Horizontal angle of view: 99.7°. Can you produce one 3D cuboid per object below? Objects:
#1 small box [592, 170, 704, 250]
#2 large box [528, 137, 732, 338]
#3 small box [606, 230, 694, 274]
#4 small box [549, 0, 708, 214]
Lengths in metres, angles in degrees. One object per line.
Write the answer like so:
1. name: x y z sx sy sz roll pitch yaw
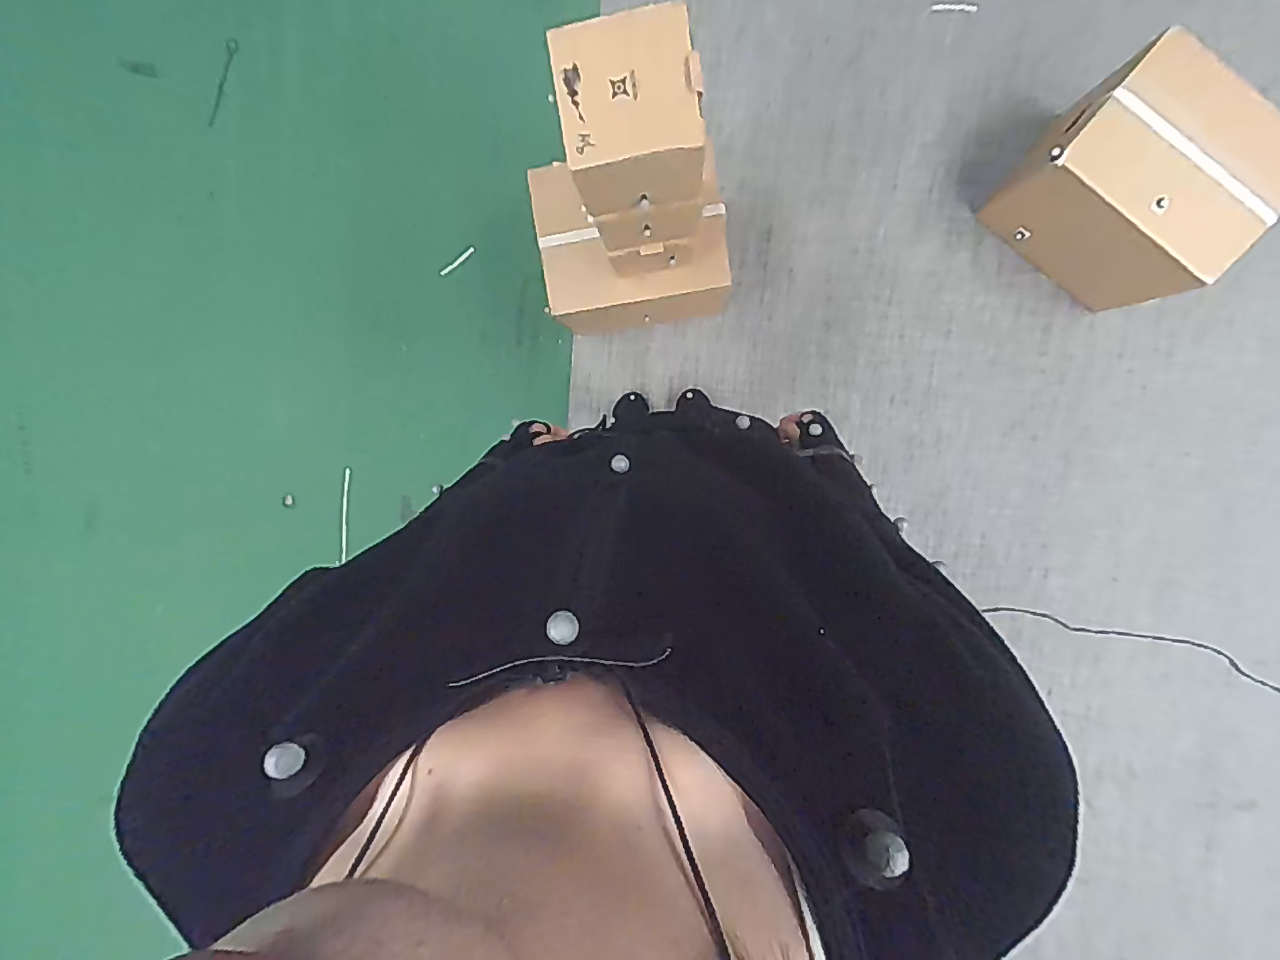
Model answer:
1. small box: 0.006 -0.501 0.894 0.179 0.176 0.168 -9 96 6
2. large box: -0.007 -0.549 1.301 0.408 0.320 0.320 -8 94 7
3. small box: 0.016 -0.516 1.056 0.168 0.176 0.179 -7 96 5
4. small box: -0.010 -0.484 0.731 0.179 0.176 0.168 -8 96 4
